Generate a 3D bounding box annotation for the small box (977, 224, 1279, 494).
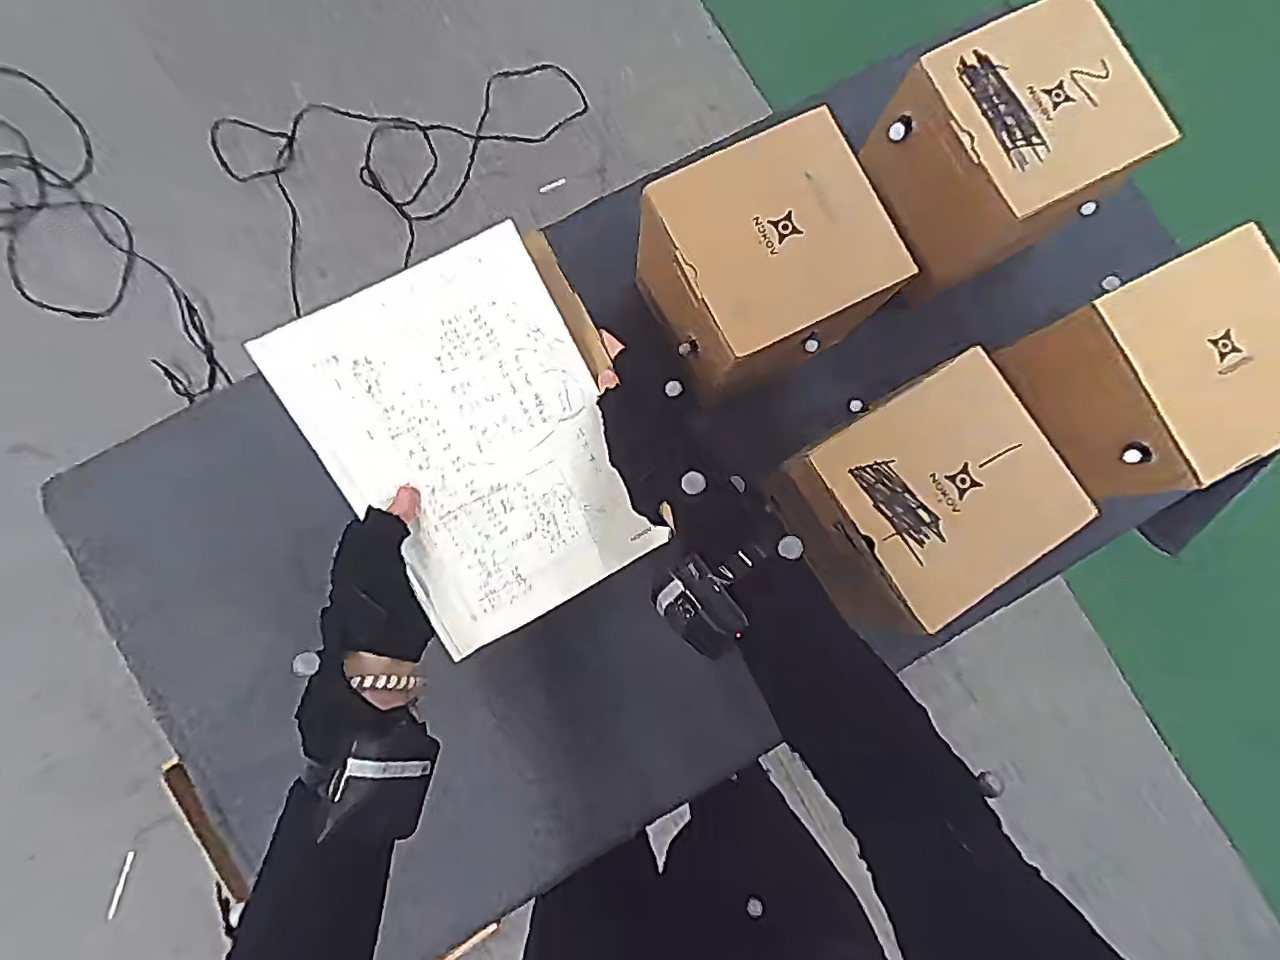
[{"bbox_3d":[0.480,-0.101,0.526,0.168,0.176,0.179,-26,85,-5],"label":"small box"}]
